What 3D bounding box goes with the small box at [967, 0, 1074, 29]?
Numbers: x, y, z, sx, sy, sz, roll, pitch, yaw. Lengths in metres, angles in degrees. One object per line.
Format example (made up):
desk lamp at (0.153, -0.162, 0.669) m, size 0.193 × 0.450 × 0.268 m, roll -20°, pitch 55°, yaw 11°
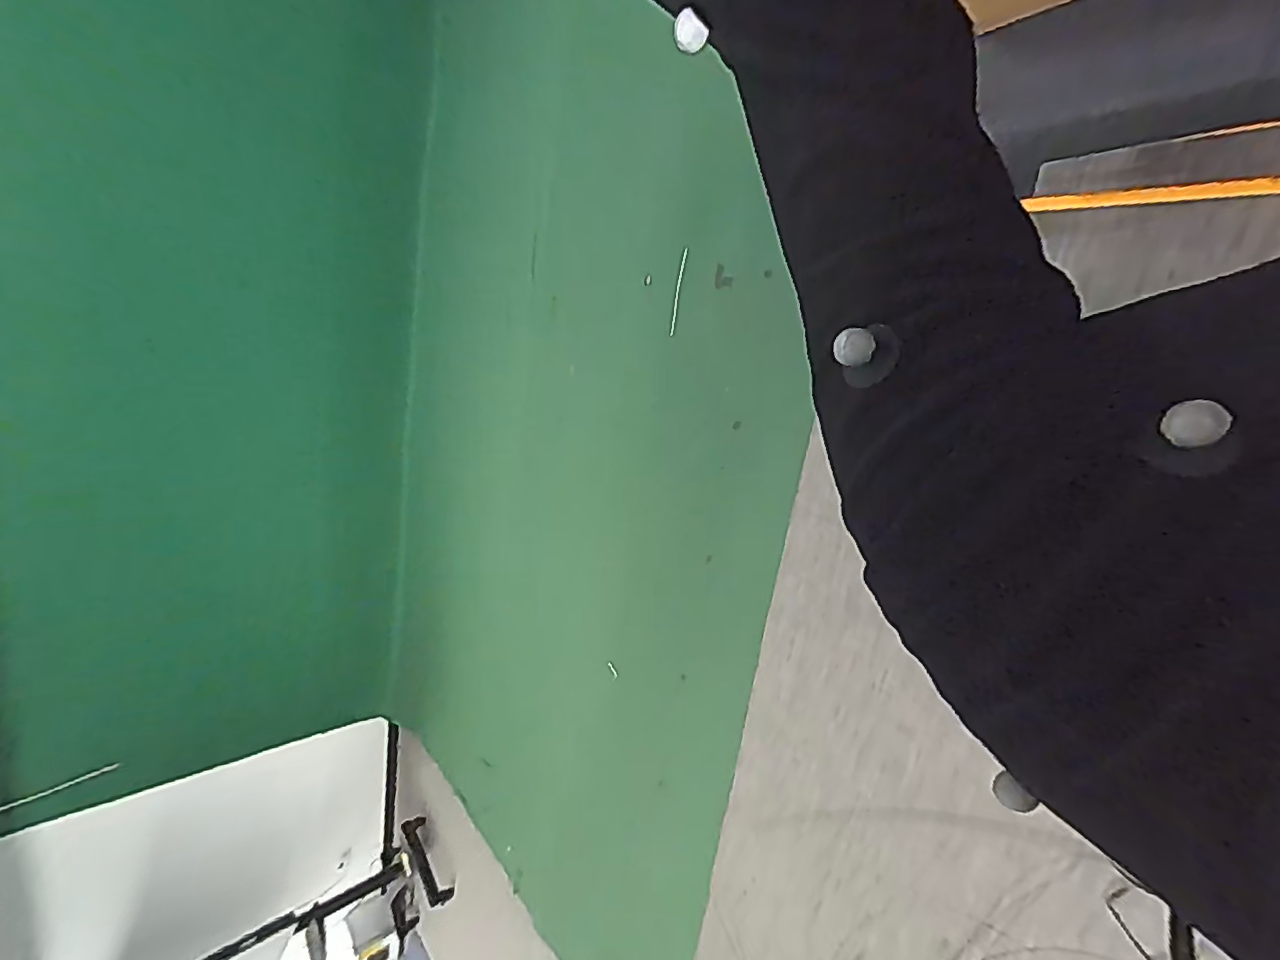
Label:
small box at (0.435, -0.620, 0.553) m, size 0.179 × 0.176 × 0.168 m, roll 14°, pitch 102°, yaw 45°
